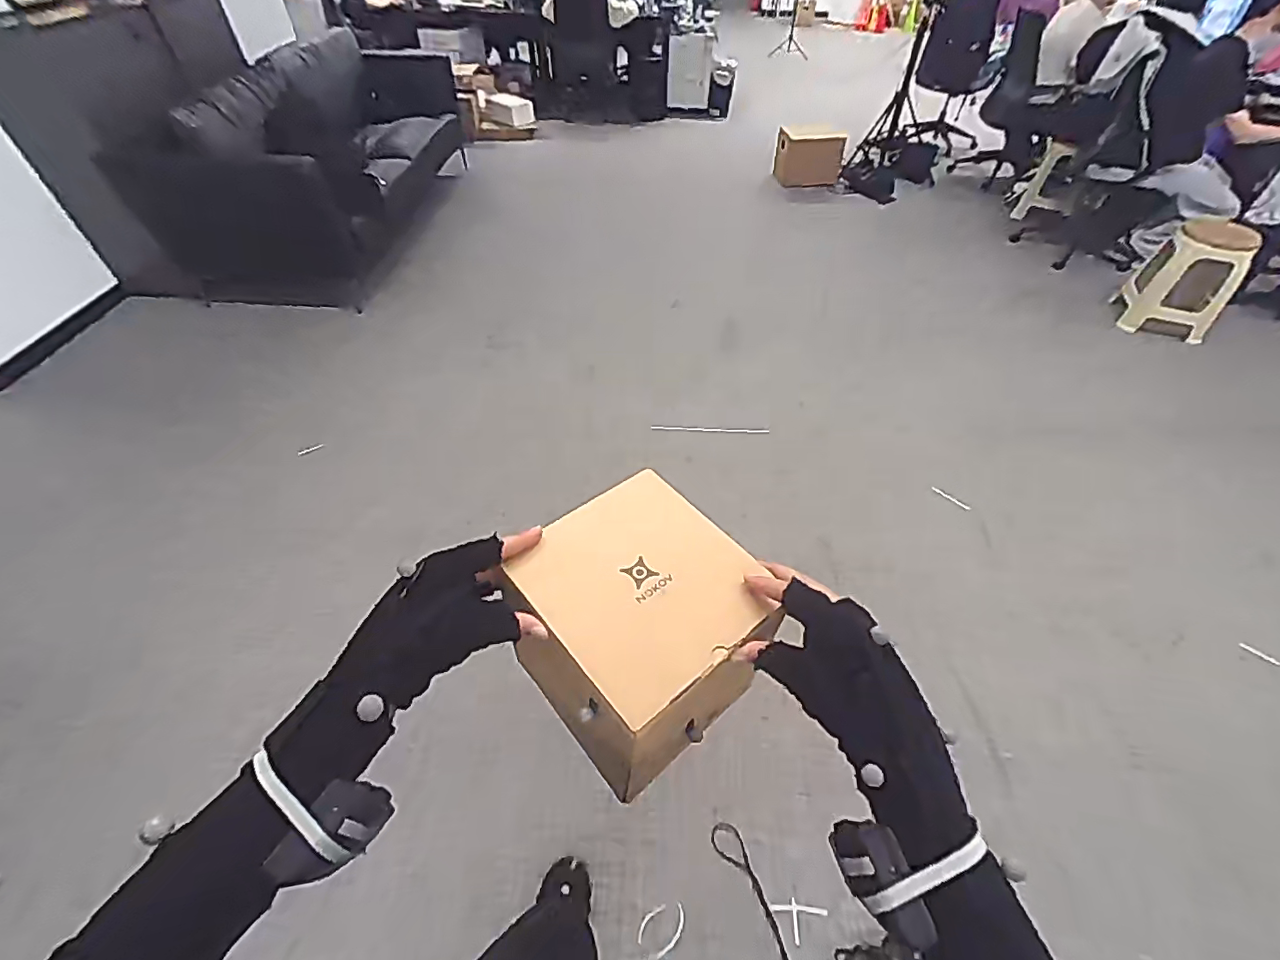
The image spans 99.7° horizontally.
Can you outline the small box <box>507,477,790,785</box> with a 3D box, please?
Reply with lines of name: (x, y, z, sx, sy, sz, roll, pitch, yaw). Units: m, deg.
small box: (-0.002, 0.135, 0.492, 0.168, 0.176, 0.179, -29, 56, -29)
